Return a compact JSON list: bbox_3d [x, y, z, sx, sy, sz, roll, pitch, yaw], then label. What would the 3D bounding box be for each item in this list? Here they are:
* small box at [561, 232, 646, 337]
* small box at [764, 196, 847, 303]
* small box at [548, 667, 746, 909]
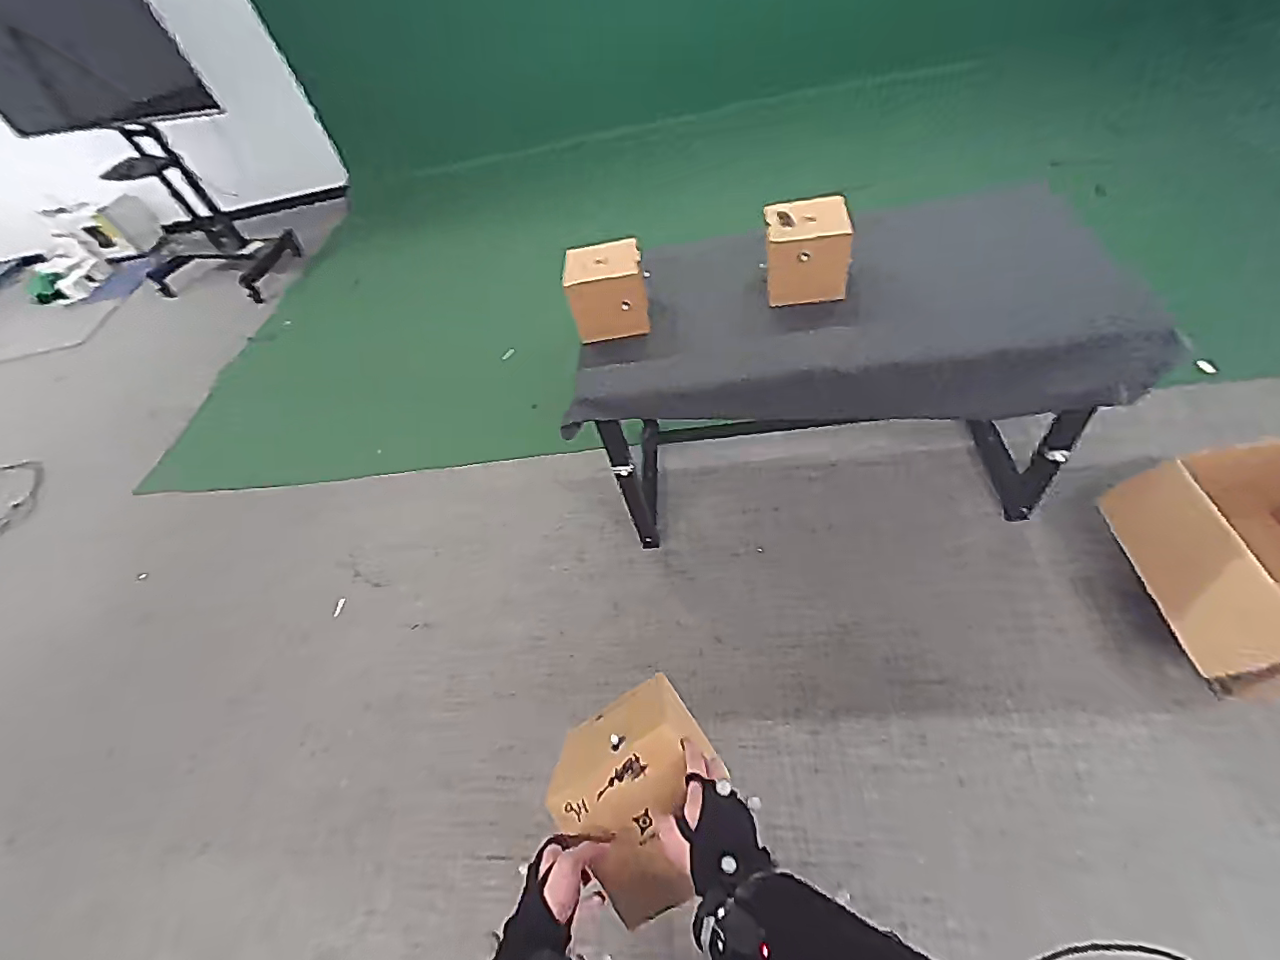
[{"bbox_3d":[-0.082,-0.478,1.335,0.179,0.176,0.168,-9,51,8],"label":"small box"},{"bbox_3d":[0.387,-0.540,1.283,0.179,0.176,0.168,0,55,14],"label":"small box"},{"bbox_3d":[0.011,0.377,0.698,0.168,0.176,0.179,-36,89,1],"label":"small box"}]
